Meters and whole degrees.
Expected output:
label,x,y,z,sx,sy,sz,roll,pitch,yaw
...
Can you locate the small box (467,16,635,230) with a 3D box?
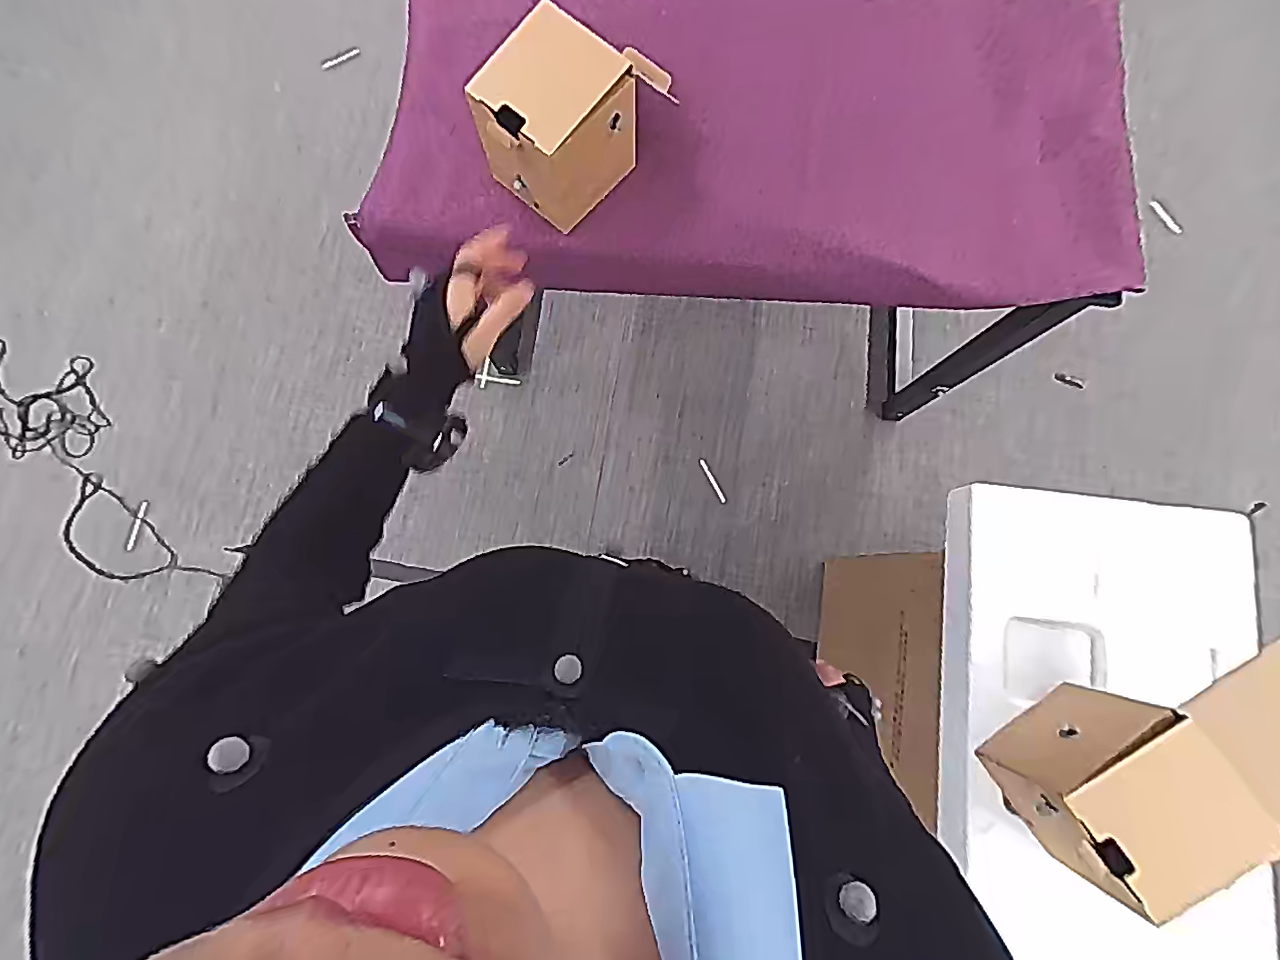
label,x,y,z,sx,sy,sz,roll,pitch,yaw
small box,-0.125,-0.531,0.824,0.168,0.176,0.179,41,81,8
